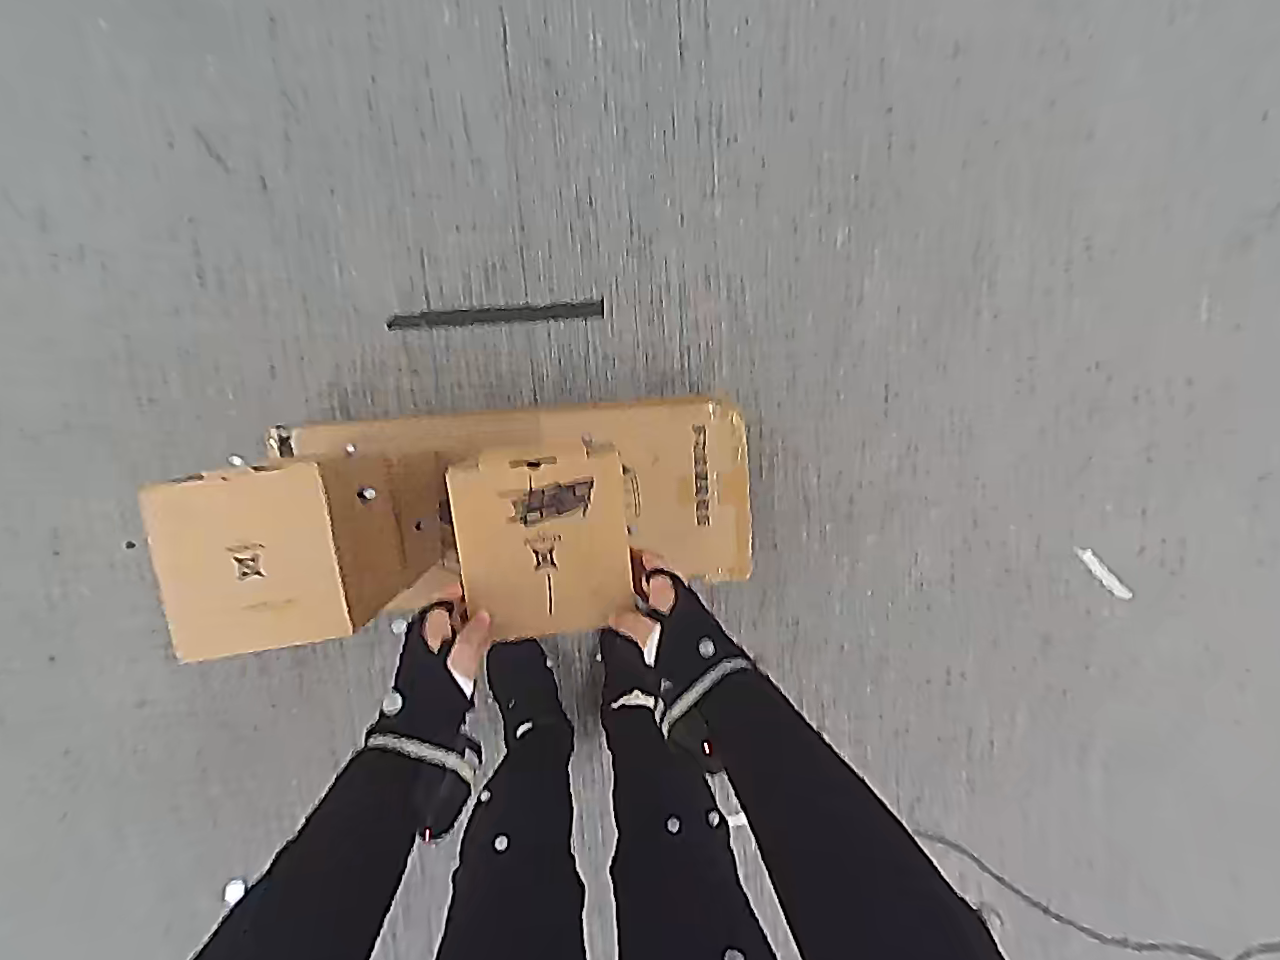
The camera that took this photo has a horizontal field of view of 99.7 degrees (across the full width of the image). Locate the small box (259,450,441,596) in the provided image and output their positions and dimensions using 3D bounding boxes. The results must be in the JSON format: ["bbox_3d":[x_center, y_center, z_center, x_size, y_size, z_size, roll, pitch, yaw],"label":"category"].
[{"bbox_3d":[-0.384,0.053,0.749,0.168,0.176,0.179,-2,97,-5],"label":"small box"}]

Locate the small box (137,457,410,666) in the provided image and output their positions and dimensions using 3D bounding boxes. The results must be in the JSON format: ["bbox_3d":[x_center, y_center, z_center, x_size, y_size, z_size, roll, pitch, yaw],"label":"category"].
[{"bbox_3d":[-0.372,0.072,0.586,0.168,0.176,0.179,-9,98,-3],"label":"small box"}]

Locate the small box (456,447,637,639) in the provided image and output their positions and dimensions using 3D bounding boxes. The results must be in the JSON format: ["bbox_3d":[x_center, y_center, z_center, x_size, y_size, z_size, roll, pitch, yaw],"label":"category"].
[{"bbox_3d":[-0.098,0.056,0.613,0.168,0.176,0.179,-6,98,-4],"label":"small box"}]
